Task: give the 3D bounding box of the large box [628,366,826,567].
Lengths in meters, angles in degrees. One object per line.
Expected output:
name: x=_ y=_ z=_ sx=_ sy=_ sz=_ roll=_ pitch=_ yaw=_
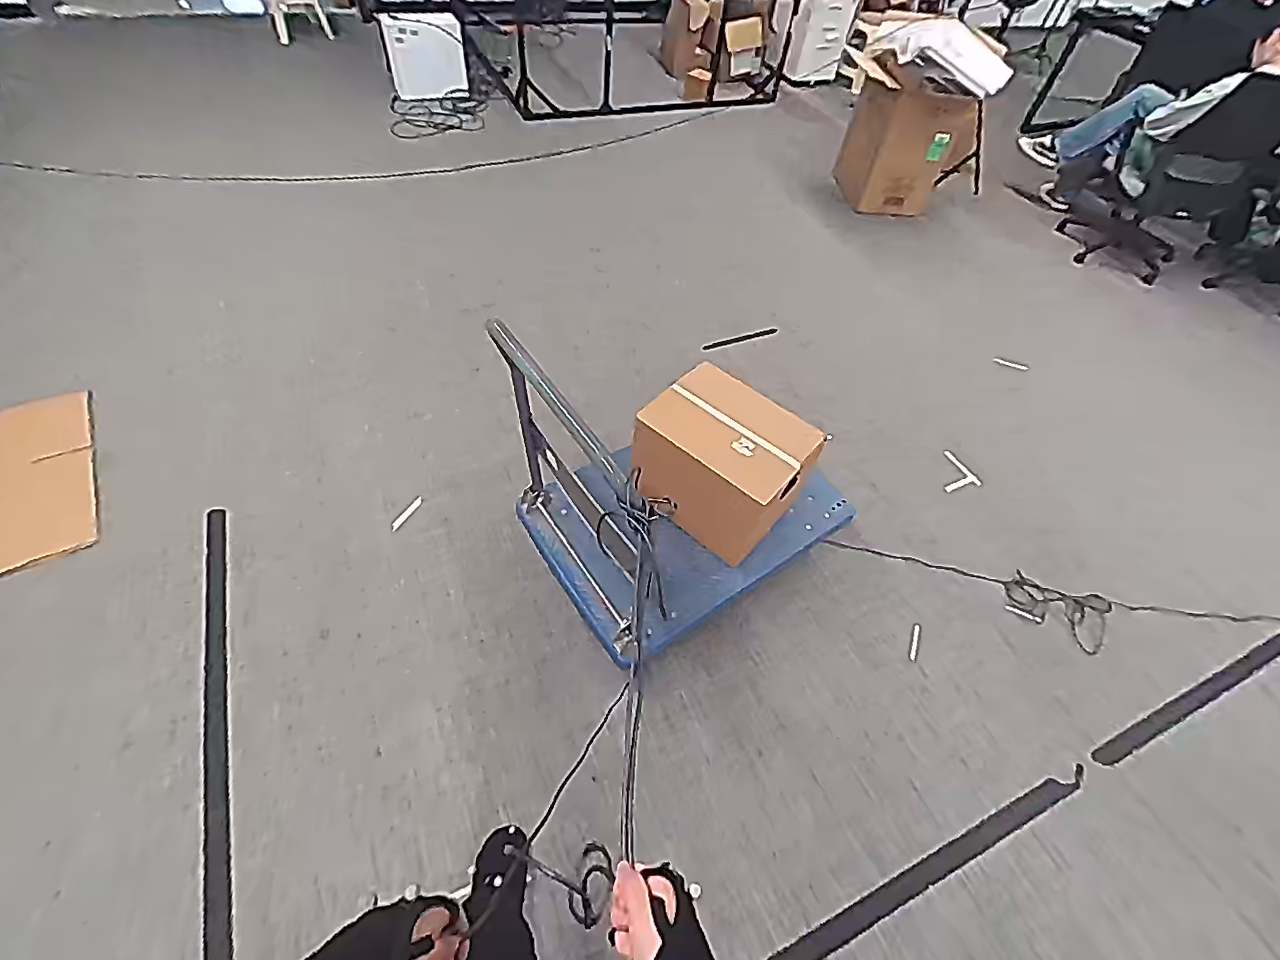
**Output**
large box: x=0.222 y=-0.040 z=1.507 sx=0.408 sy=0.320 sz=0.320 roll=37 pitch=58 yaw=20
